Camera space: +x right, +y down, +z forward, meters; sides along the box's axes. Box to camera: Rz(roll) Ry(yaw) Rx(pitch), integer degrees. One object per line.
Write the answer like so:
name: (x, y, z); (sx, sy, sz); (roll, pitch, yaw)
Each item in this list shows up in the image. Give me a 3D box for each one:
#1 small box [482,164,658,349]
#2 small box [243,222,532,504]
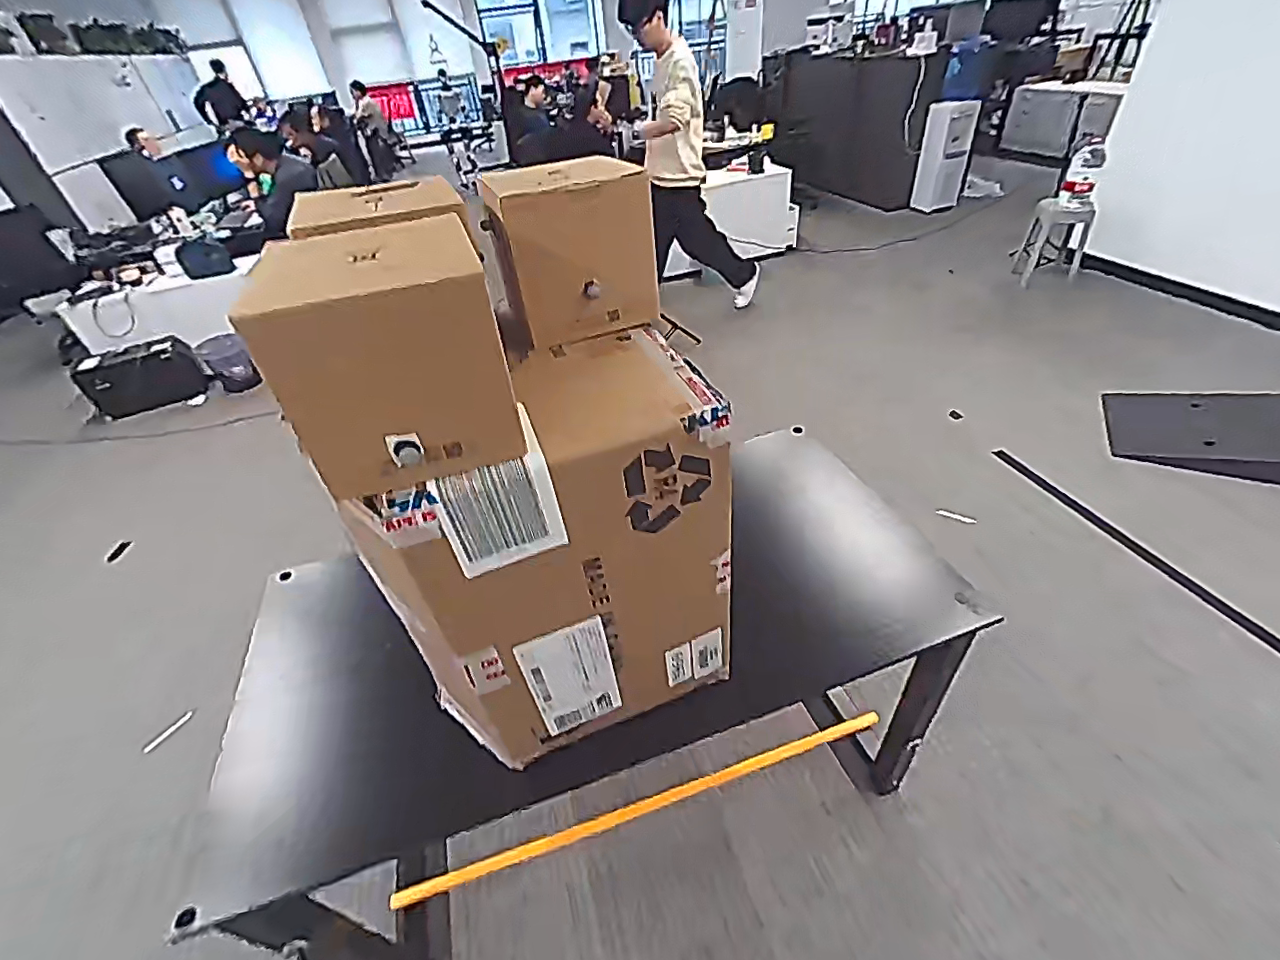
small box: (-0.086, -0.283, 0.677); (0.168, 0.176, 0.179); (-18, 39, -13)
small box: (-0.205, -0.108, 0.479); (0.168, 0.176, 0.179); (-18, 43, -14)
